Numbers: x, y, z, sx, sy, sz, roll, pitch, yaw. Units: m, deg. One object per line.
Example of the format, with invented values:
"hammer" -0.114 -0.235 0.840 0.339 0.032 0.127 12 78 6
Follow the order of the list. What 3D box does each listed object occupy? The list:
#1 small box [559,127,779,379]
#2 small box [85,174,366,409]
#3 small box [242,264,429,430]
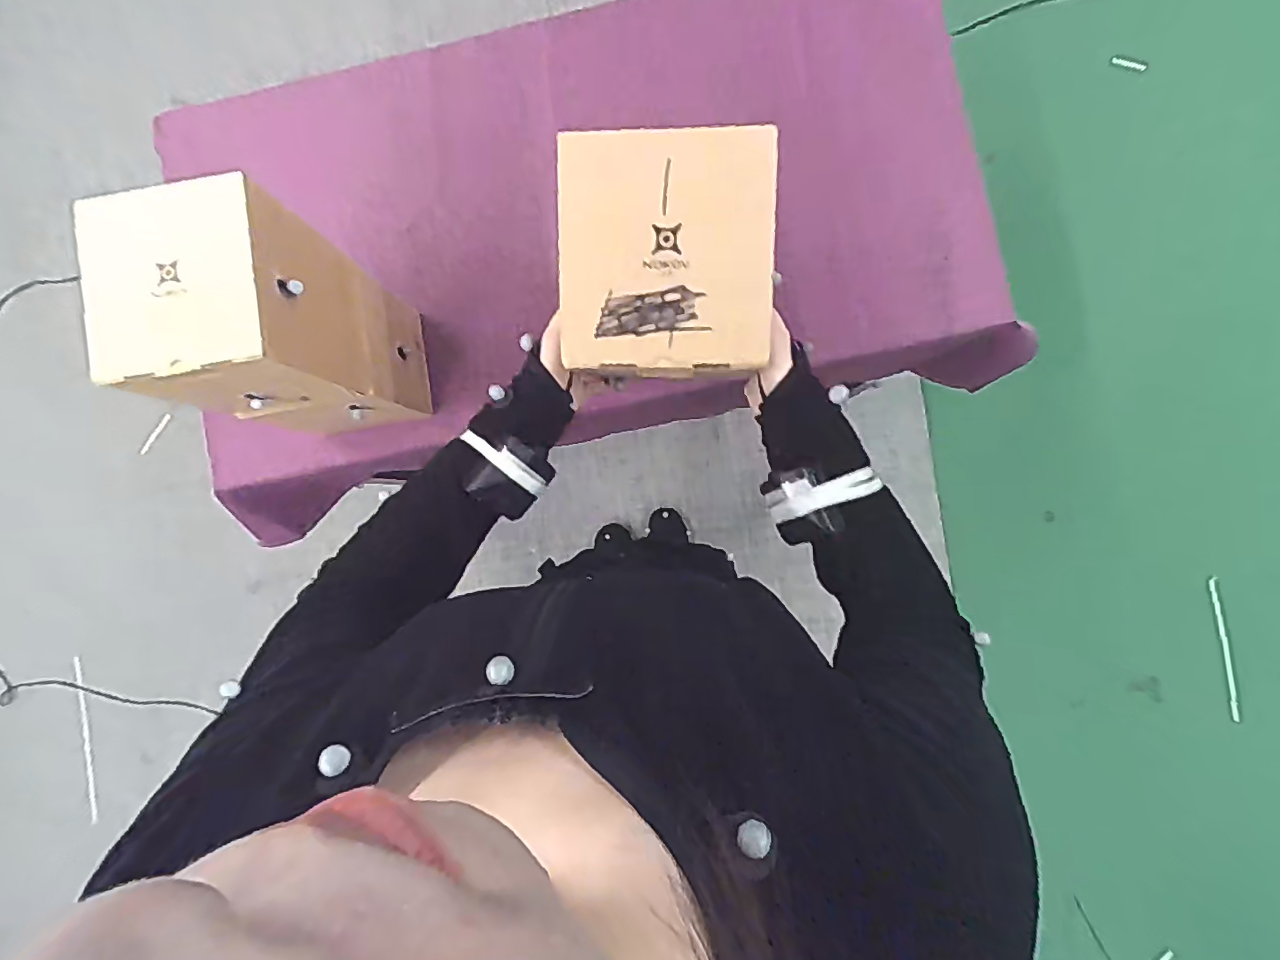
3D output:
"small box" 0.026 -0.183 0.489 0.168 0.176 0.179 1 97 4
"small box" -0.422 -0.184 0.578 0.168 0.176 0.179 -8 88 3
"small box" -0.407 -0.169 0.740 0.179 0.176 0.168 -9 87 4
